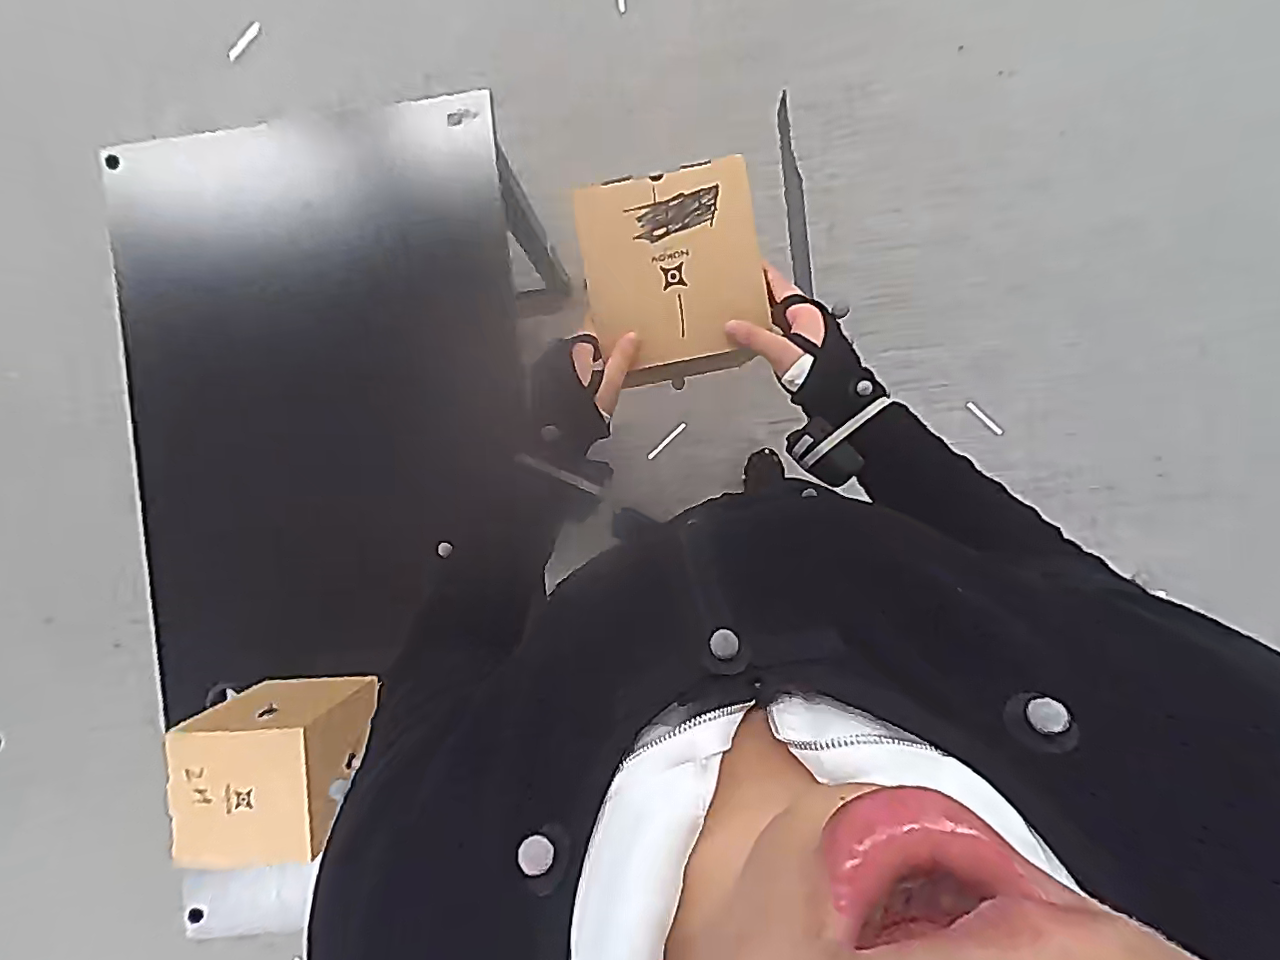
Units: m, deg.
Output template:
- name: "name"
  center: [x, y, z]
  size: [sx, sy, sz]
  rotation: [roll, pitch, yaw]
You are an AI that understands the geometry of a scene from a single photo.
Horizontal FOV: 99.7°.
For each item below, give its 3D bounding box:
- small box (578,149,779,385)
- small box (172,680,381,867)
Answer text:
- name: "small box"
  center: [0.037, -0.209, 0.580]
  size: [0.168, 0.176, 0.179]
  rotation: [-11, 94, 3]
- name: "small box"
  center: [-0.468, 0.379, 0.726]
  size: [0.179, 0.176, 0.168]
  rotation: [-4, 89, 4]
